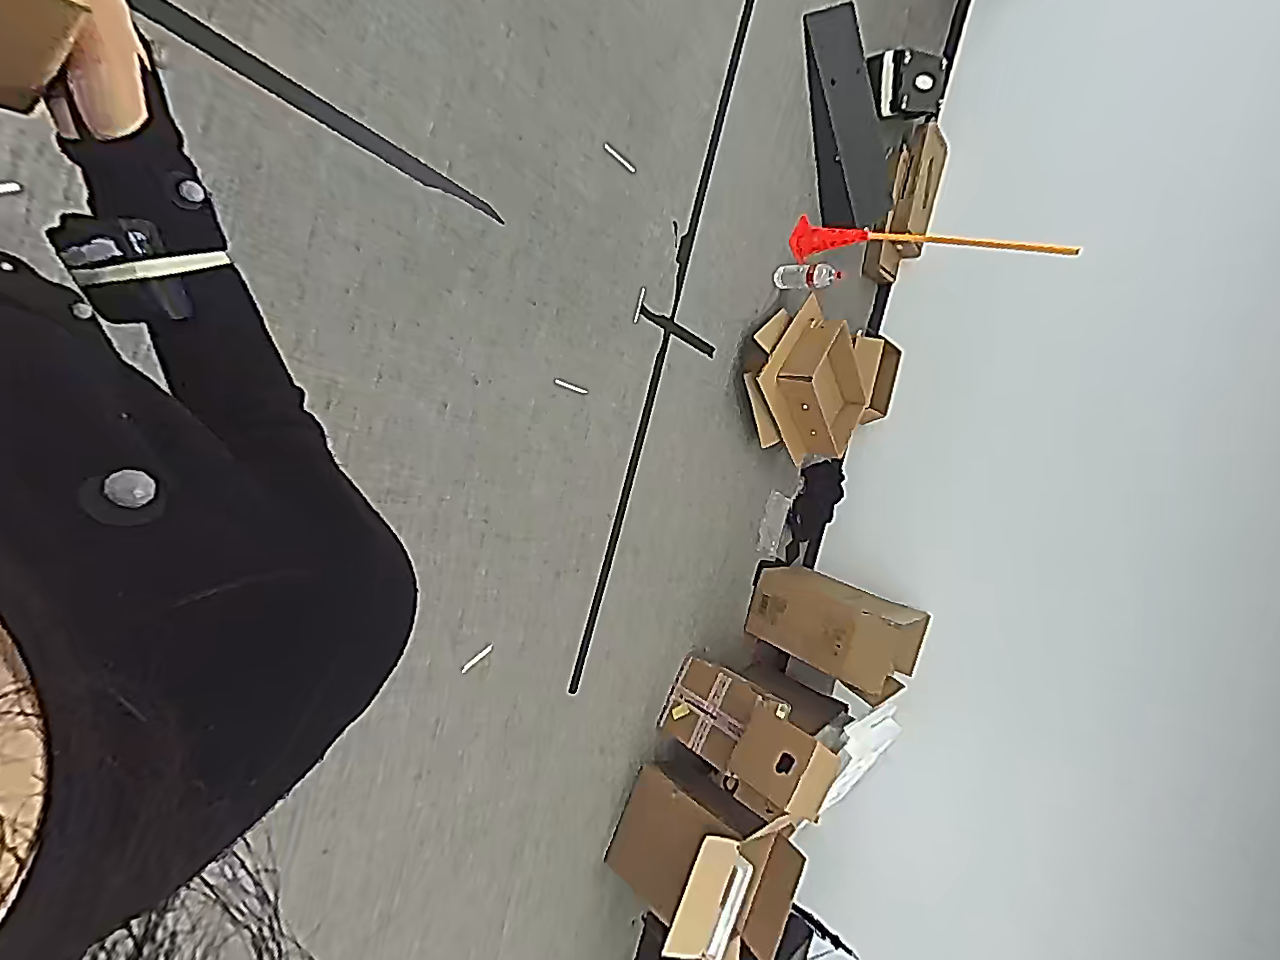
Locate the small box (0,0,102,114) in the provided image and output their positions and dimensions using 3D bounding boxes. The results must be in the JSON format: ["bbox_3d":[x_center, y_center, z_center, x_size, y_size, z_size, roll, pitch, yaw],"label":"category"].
[{"bbox_3d":[-0.352,-0.289,0.215,0.168,0.176,0.179,-10,102,-54],"label":"small box"}]
